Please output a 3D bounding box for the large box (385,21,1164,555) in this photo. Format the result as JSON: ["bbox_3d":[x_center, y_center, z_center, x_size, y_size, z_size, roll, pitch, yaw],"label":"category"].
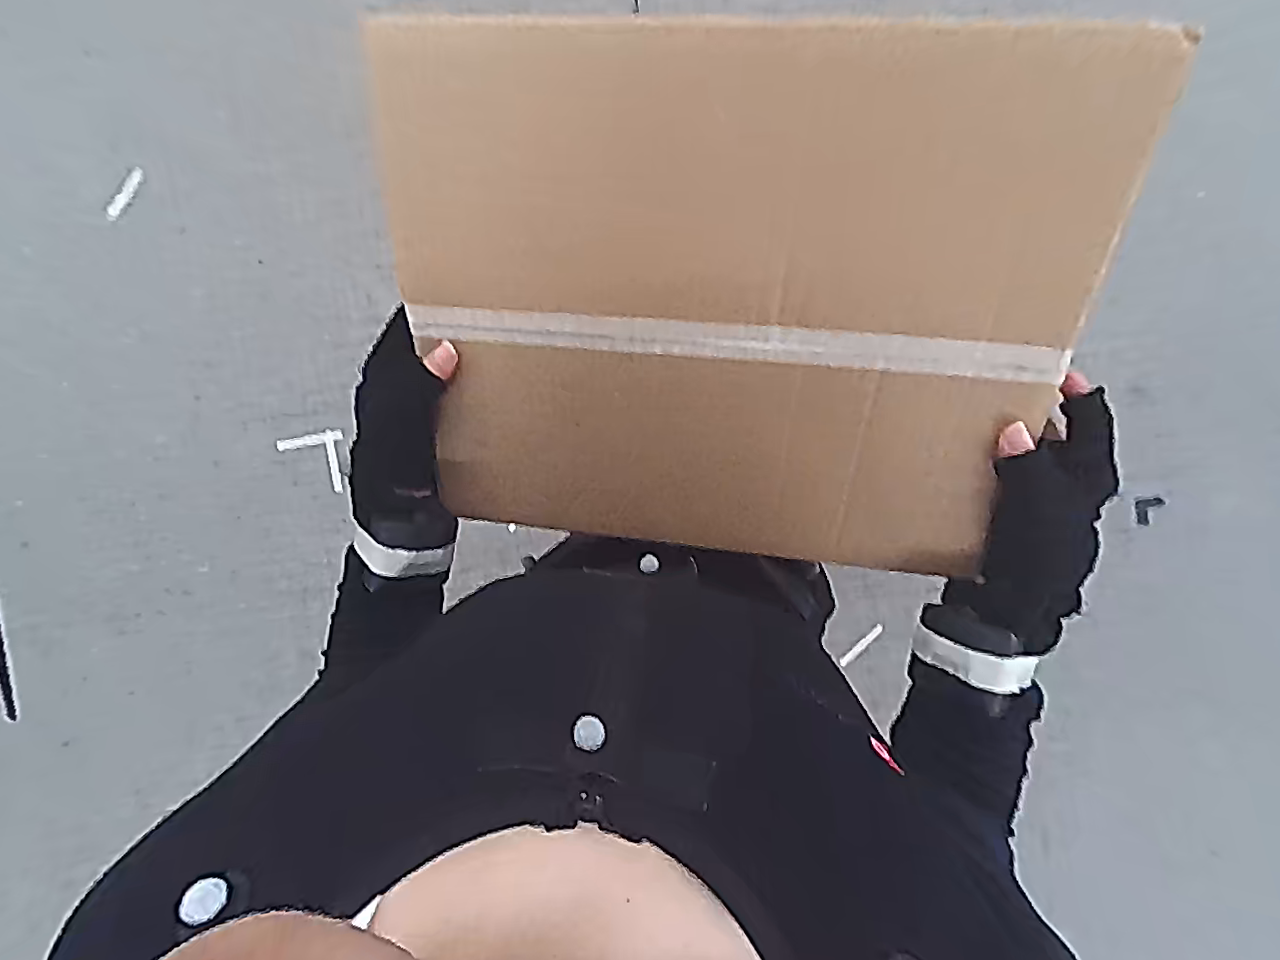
[{"bbox_3d":[0.069,-0.165,0.477,0.408,0.320,0.320,6,120,7],"label":"large box"}]
